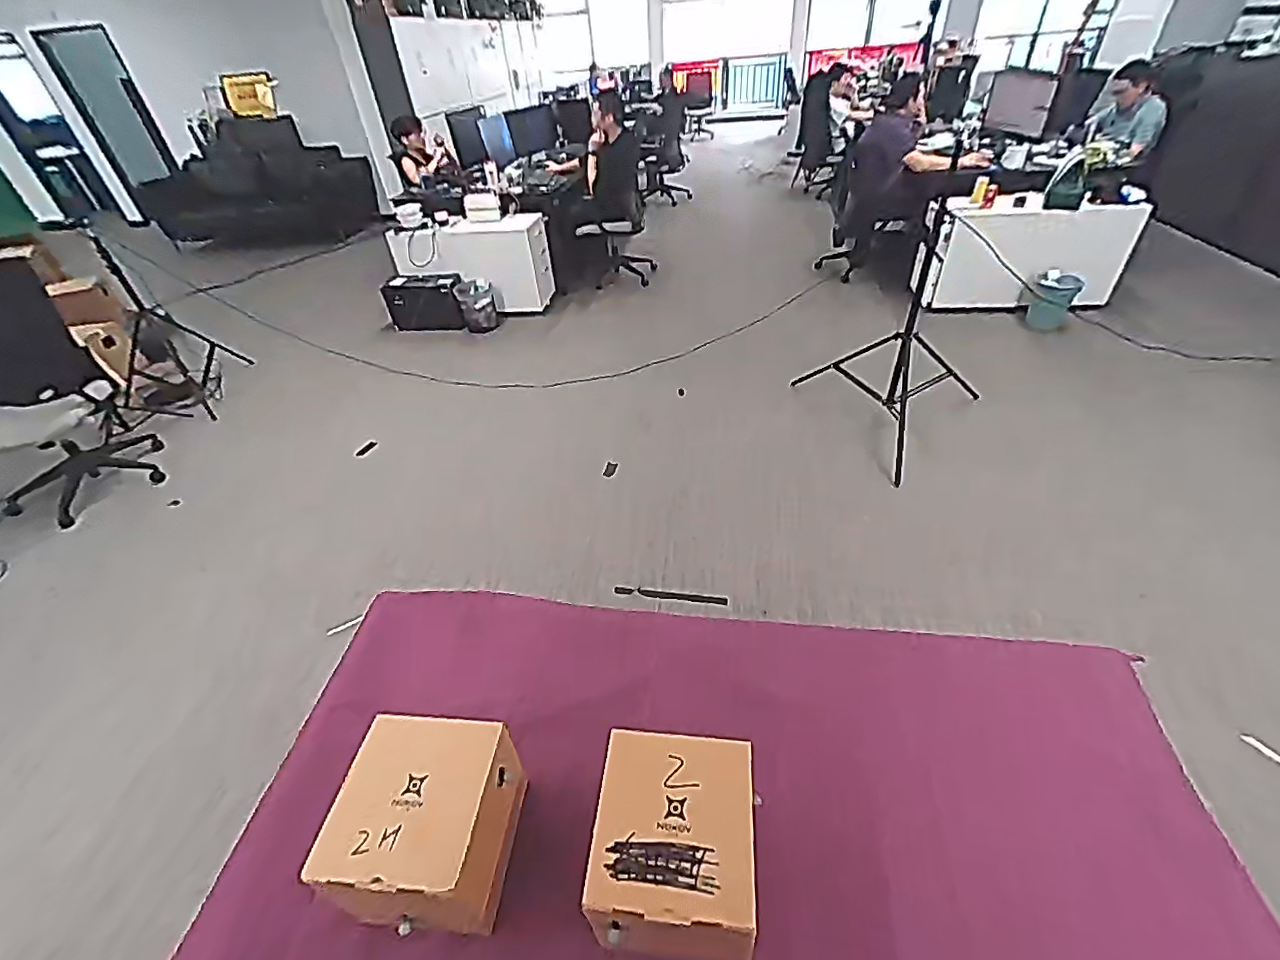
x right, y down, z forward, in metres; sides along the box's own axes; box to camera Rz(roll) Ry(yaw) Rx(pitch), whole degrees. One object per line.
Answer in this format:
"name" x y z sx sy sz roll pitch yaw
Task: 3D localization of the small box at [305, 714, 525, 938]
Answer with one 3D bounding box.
"small box" -0.244 0.408 0.645 0.168 0.176 0.179 1 40 6
